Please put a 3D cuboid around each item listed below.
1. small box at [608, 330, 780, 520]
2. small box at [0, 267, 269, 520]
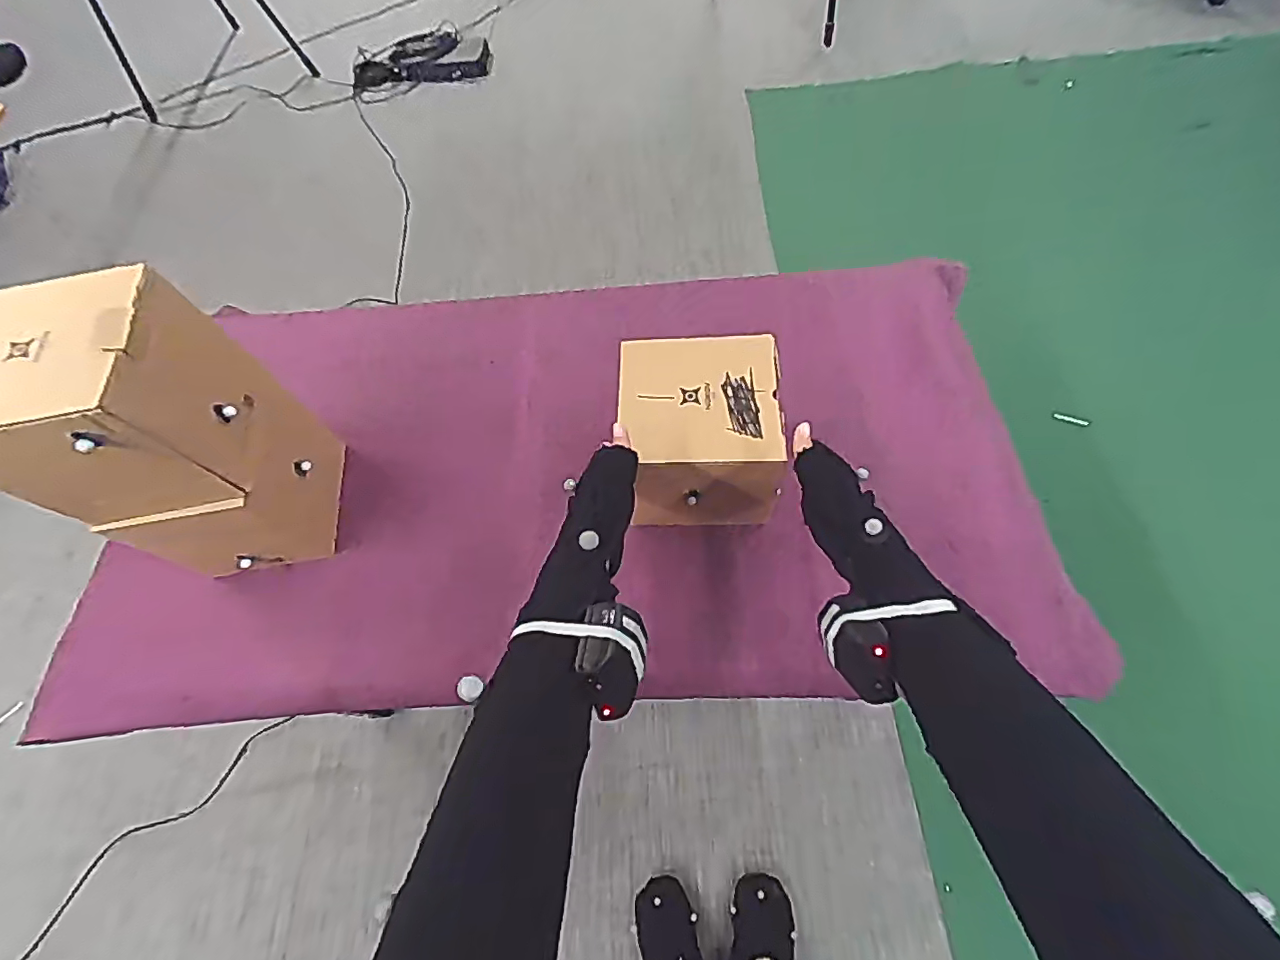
[{"bbox_3d":[0.065,-0.059,0.650,0.179,0.176,0.168,2,62,7],"label":"small box"},{"bbox_3d":[-0.518,-0.074,0.536,0.179,0.176,0.168,-12,64,-1],"label":"small box"}]
